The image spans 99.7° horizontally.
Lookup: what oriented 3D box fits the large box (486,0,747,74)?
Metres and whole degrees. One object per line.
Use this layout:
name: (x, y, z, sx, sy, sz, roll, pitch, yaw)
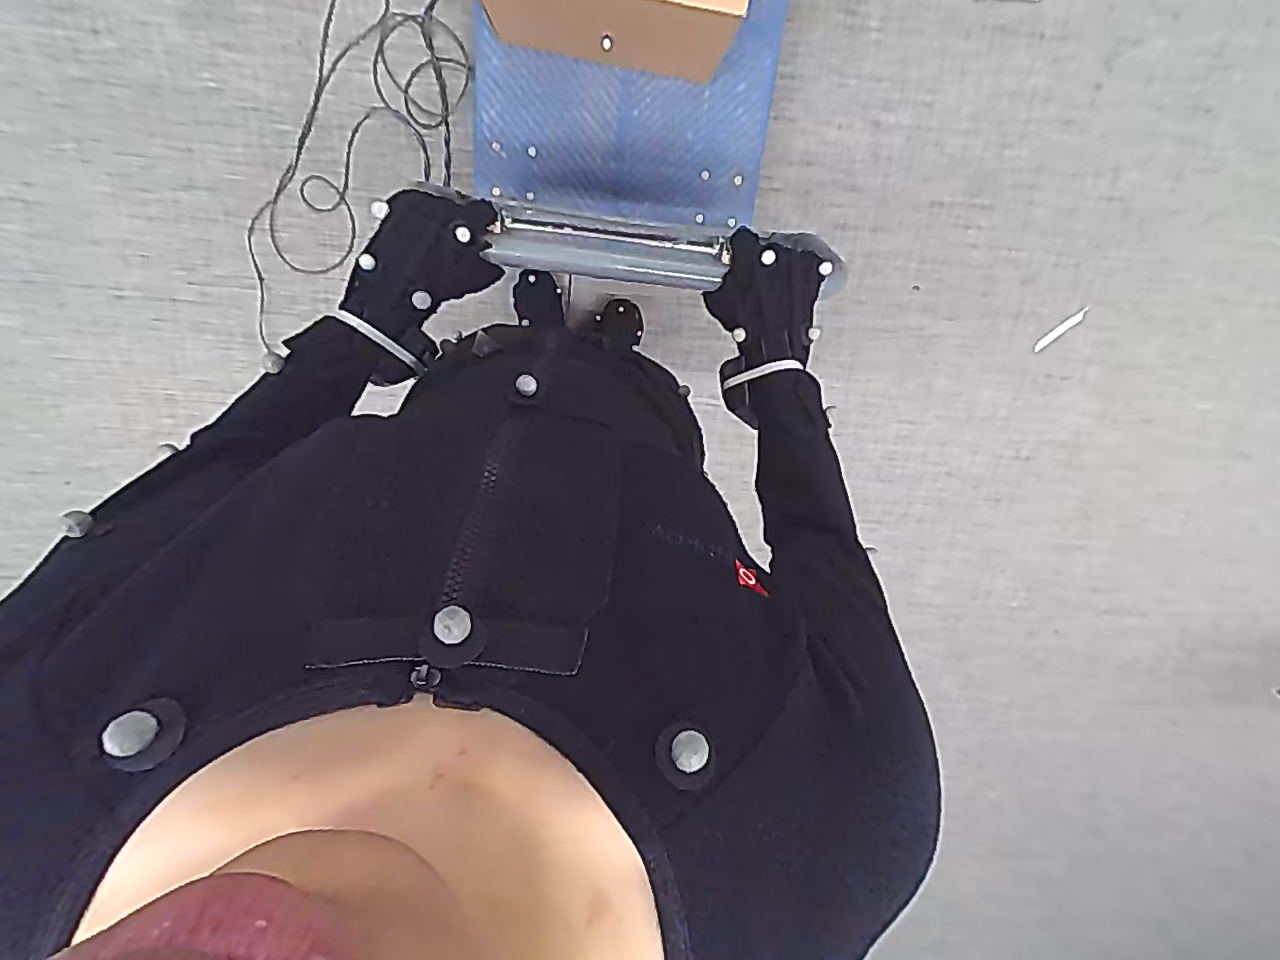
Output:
large box: (-0.030, -0.888, 0.842, 0.408, 0.320, 0.320, 7, 111, -5)
